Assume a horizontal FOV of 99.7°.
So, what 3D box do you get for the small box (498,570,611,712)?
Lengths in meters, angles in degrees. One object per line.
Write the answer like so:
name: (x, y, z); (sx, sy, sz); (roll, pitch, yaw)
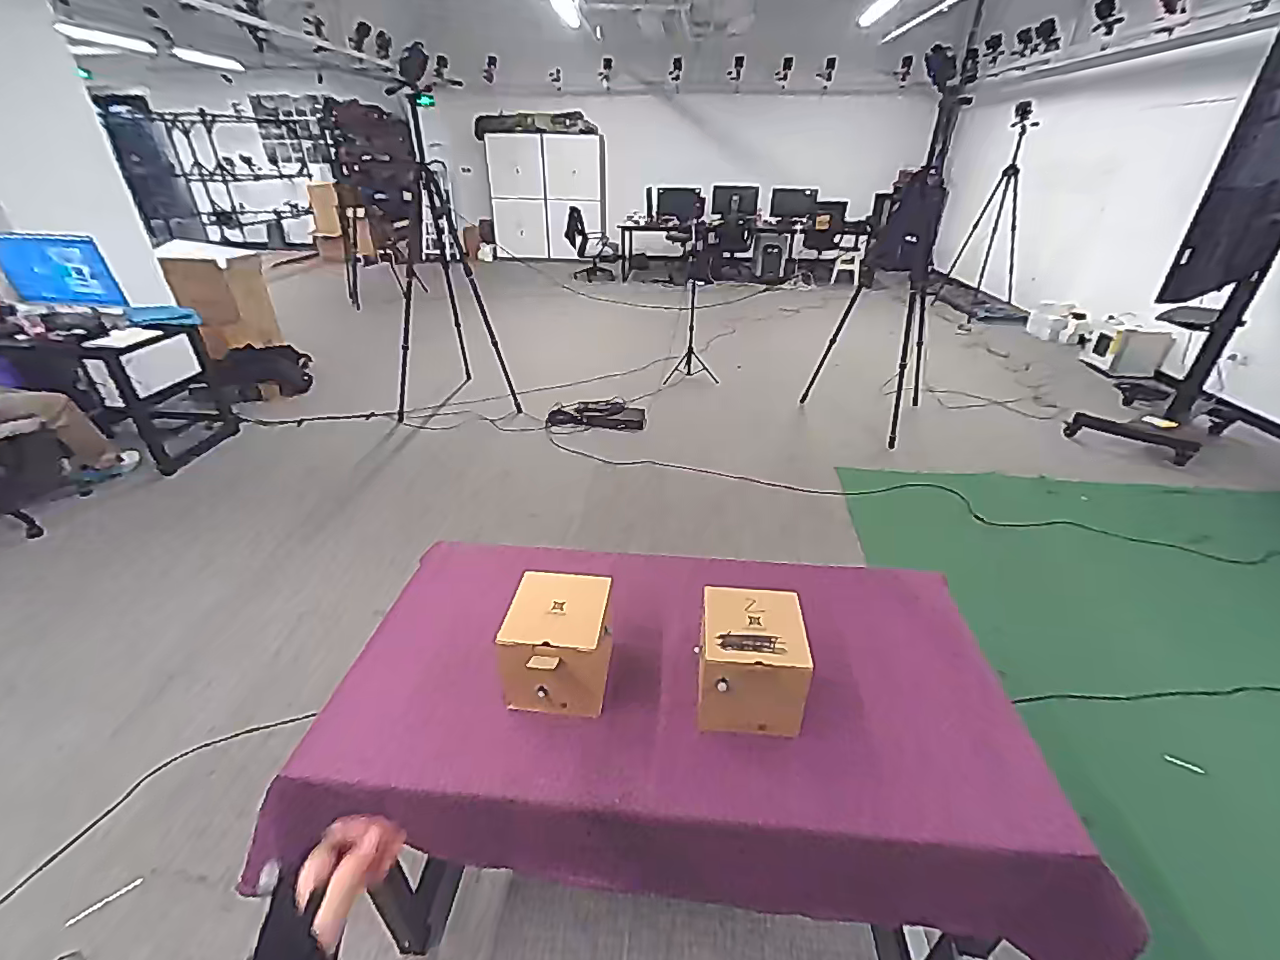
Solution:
small box: (-0.146, 0.290, 0.988); (0.168, 0.176, 0.179); (4, 32, 5)
